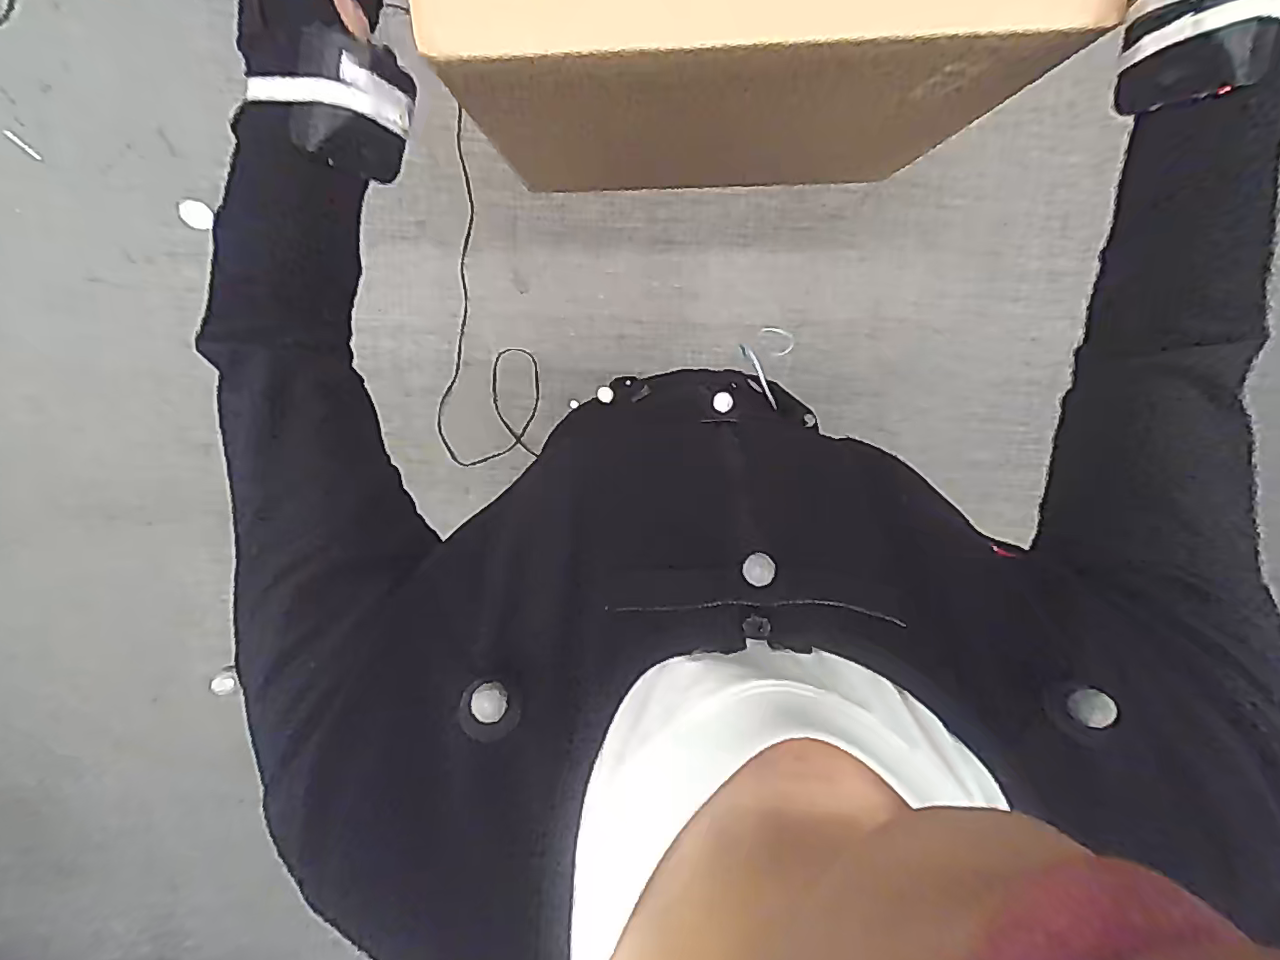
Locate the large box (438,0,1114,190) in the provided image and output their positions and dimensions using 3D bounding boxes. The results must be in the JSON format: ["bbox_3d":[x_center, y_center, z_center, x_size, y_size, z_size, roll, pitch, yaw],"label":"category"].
[{"bbox_3d":[0.070,-0.445,0.424,0.408,0.320,0.320,-2,105,0],"label":"large box"}]
